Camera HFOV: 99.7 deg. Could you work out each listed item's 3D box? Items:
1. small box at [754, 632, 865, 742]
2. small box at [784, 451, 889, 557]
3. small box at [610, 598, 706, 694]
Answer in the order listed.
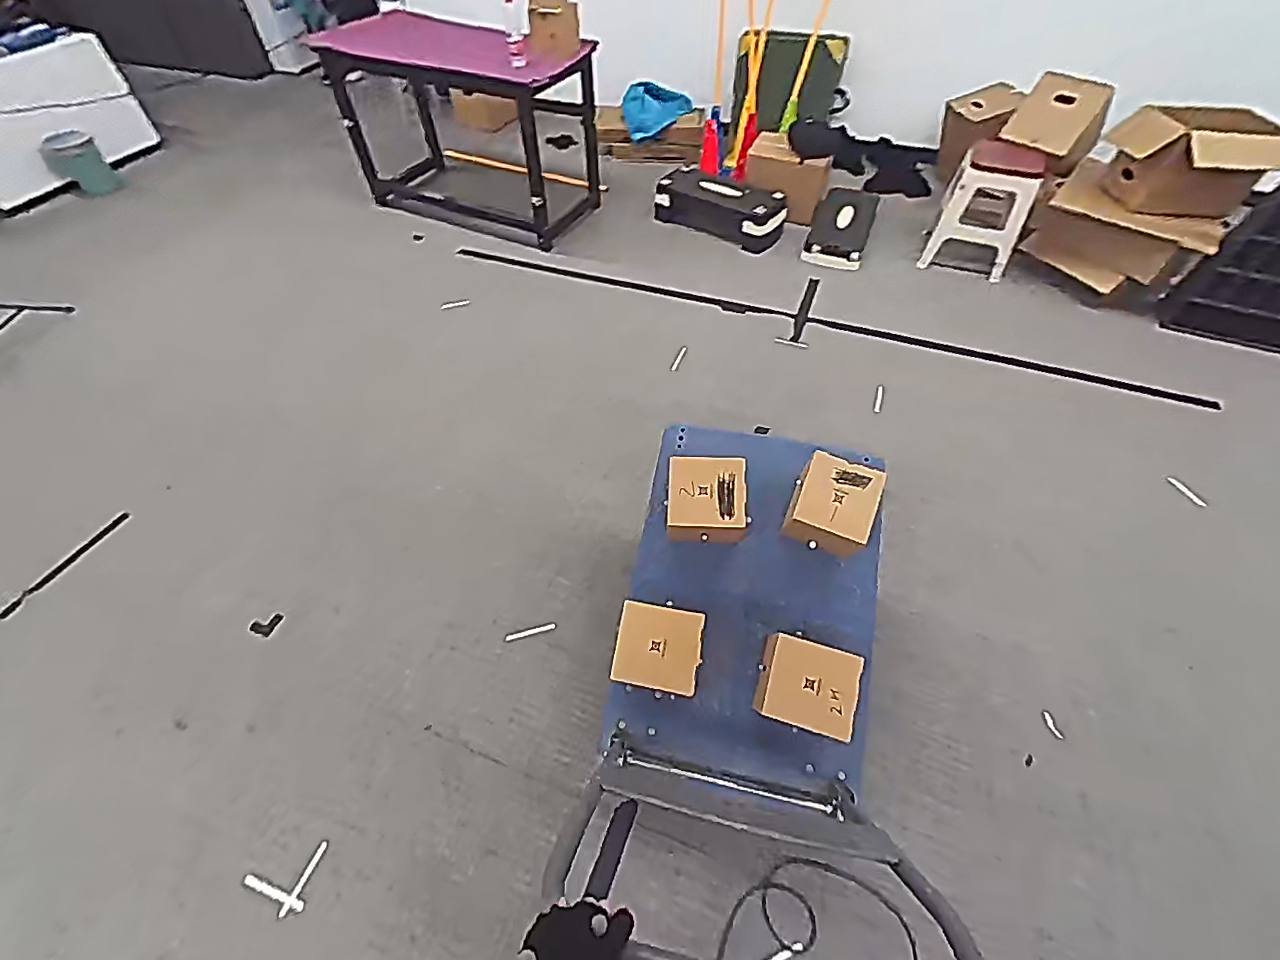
[{"bbox_3d":[0.351,0.435,1.150,0.179,0.176,0.168,16,74,10],"label":"small box"},{"bbox_3d":[0.451,0.063,1.268,0.168,0.176,0.179,21,75,11],"label":"small box"},{"bbox_3d":[0.044,0.369,1.198,0.179,0.176,0.168,10,72,6],"label":"small box"}]
